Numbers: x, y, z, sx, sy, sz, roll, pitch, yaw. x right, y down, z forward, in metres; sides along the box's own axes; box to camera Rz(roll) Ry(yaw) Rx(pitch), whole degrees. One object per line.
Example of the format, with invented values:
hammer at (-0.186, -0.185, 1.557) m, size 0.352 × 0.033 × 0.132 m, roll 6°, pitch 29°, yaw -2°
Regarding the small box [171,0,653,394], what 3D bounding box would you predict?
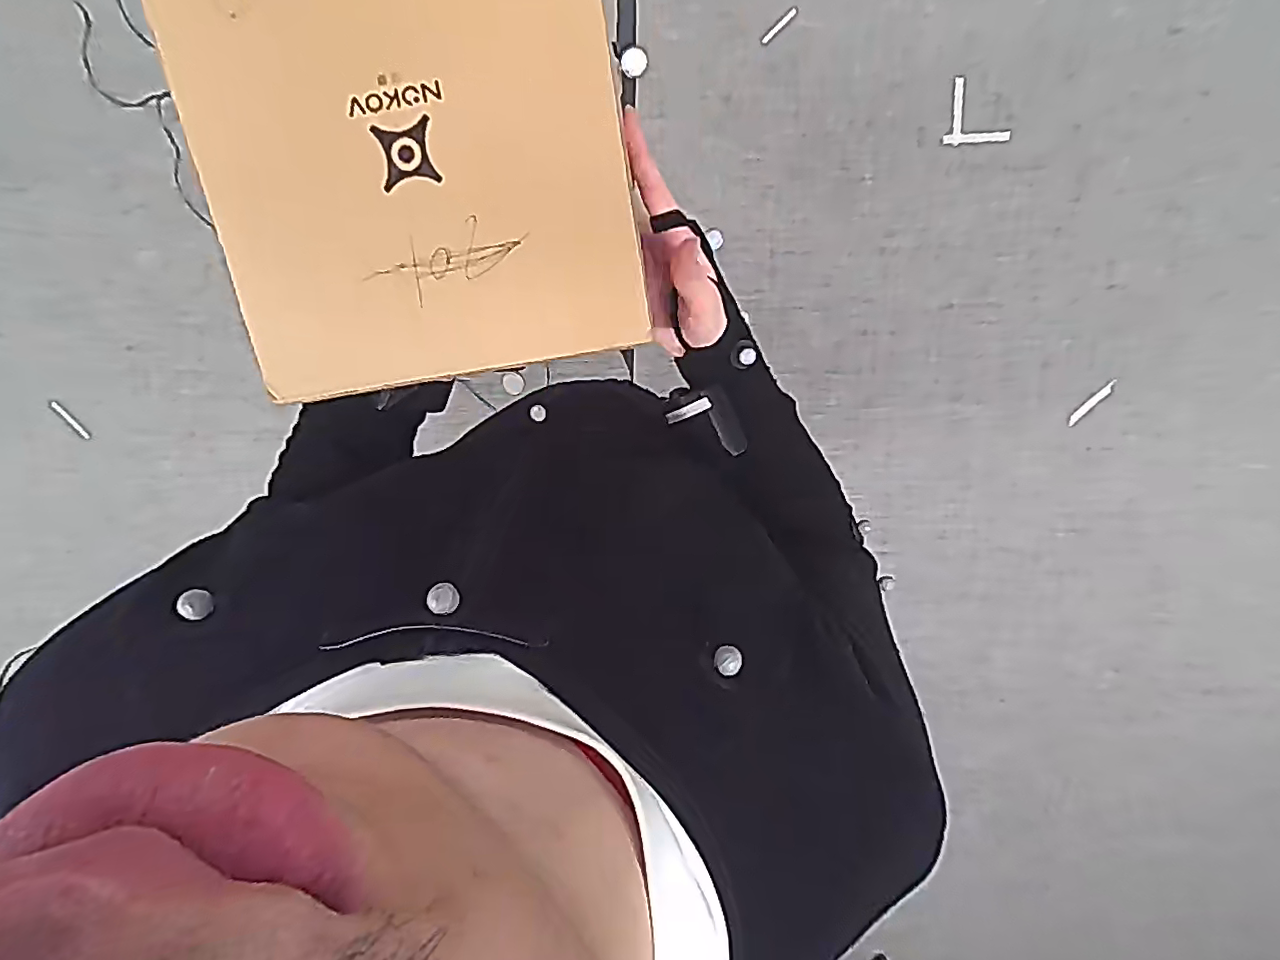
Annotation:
small box at (-0.085, -0.150, 0.293) m, size 0.168 × 0.176 × 0.179 m, roll -8°, pitch 105°, yaw 4°
